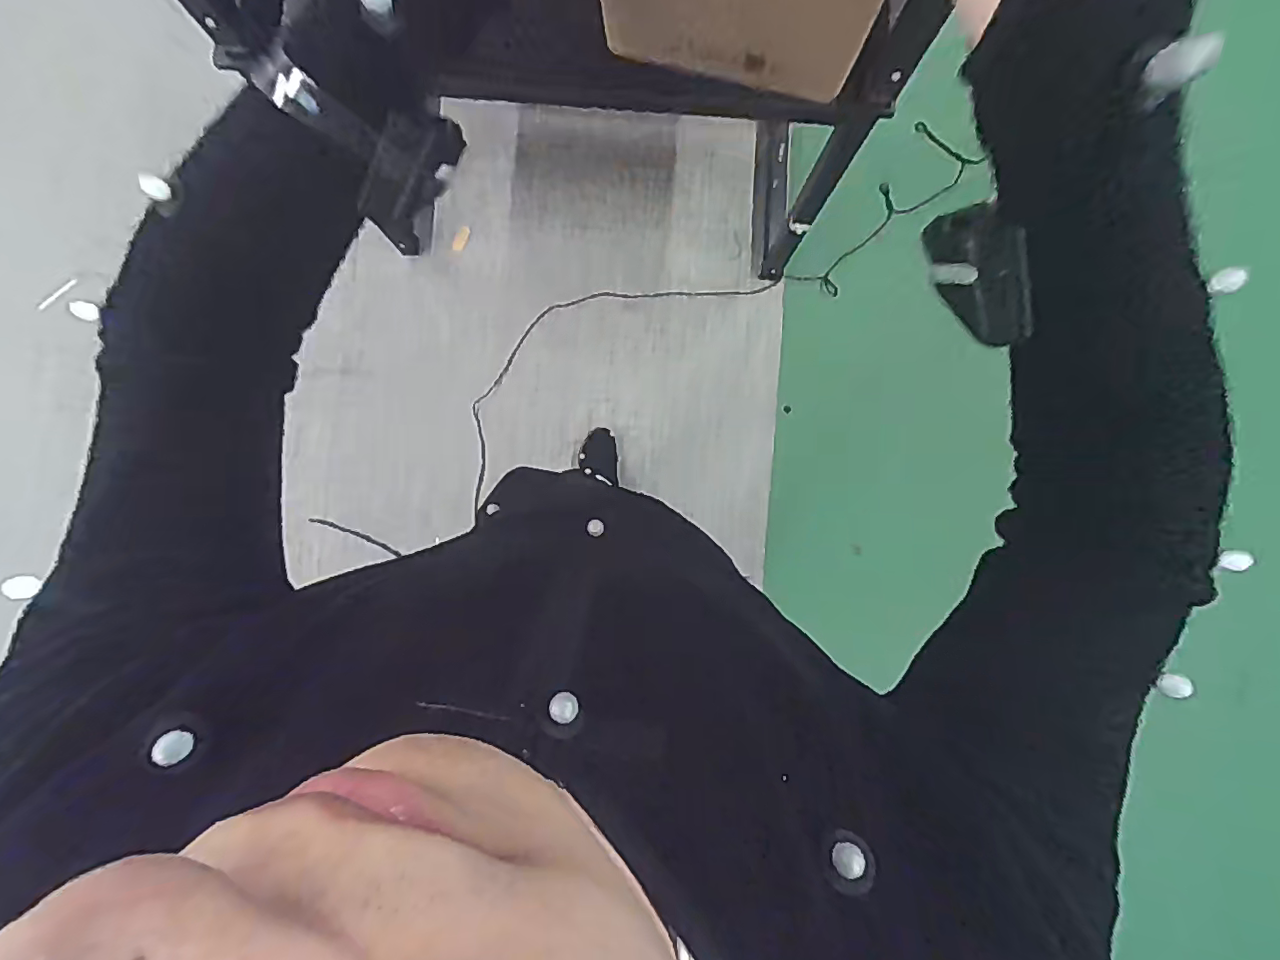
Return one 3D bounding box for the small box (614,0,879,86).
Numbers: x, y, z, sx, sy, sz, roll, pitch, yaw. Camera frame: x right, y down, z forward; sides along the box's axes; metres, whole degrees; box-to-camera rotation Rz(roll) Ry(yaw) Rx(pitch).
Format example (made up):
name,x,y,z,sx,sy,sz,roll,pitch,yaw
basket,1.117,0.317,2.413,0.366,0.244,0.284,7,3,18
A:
name,x,y,z,sx,sy,sz,roll,pitch,yaw
small box,0.074,-0.364,0.284,0.168,0.176,0.179,14,93,2
